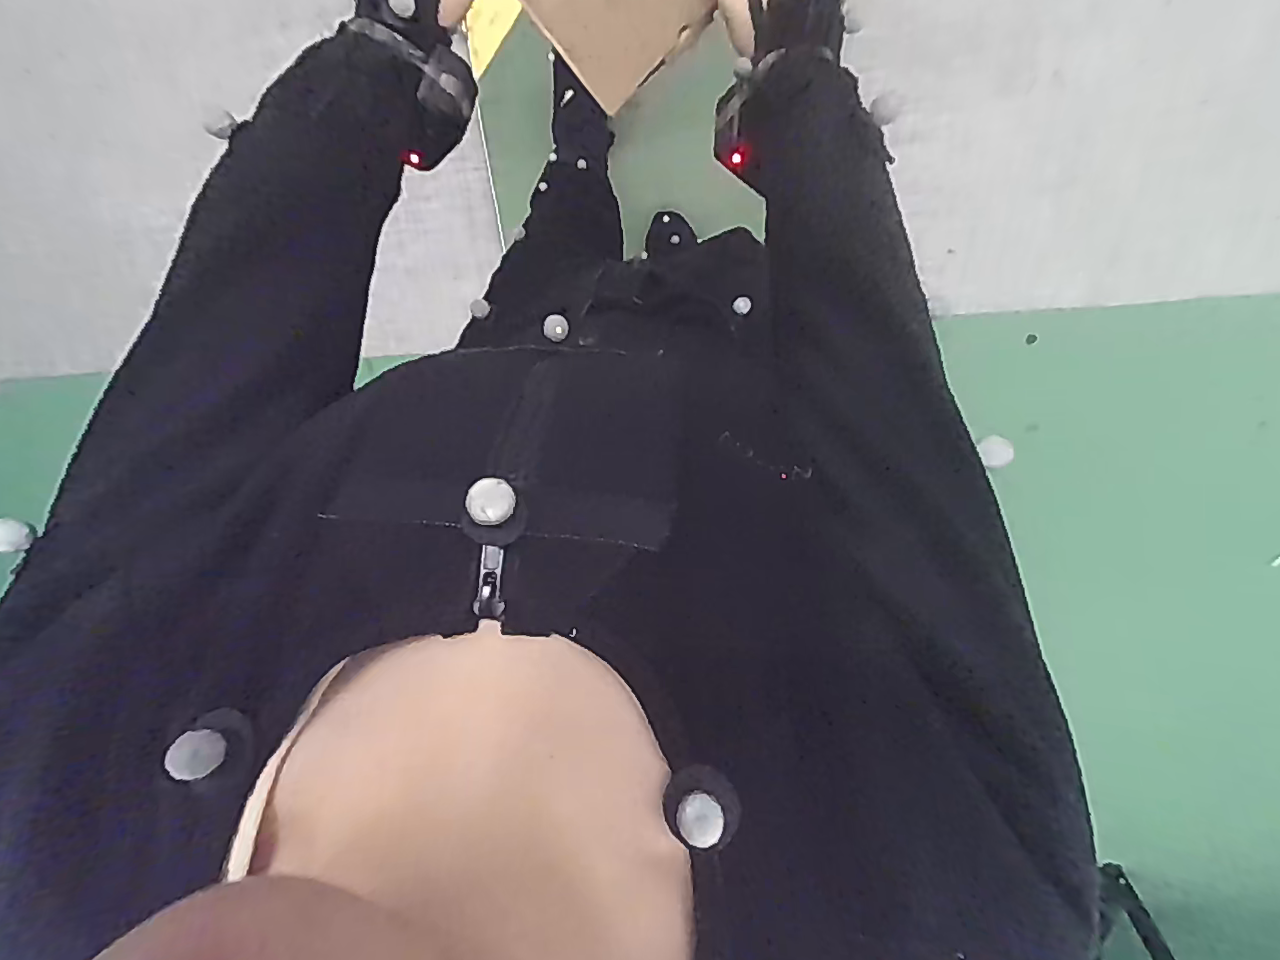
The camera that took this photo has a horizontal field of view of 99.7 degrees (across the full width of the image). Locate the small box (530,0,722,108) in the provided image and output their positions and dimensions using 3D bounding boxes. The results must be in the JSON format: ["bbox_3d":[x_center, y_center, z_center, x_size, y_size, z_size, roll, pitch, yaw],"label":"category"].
[{"bbox_3d":[-0.015,-0.450,0.425,0.168,0.176,0.179,-30,127,28],"label":"small box"}]
